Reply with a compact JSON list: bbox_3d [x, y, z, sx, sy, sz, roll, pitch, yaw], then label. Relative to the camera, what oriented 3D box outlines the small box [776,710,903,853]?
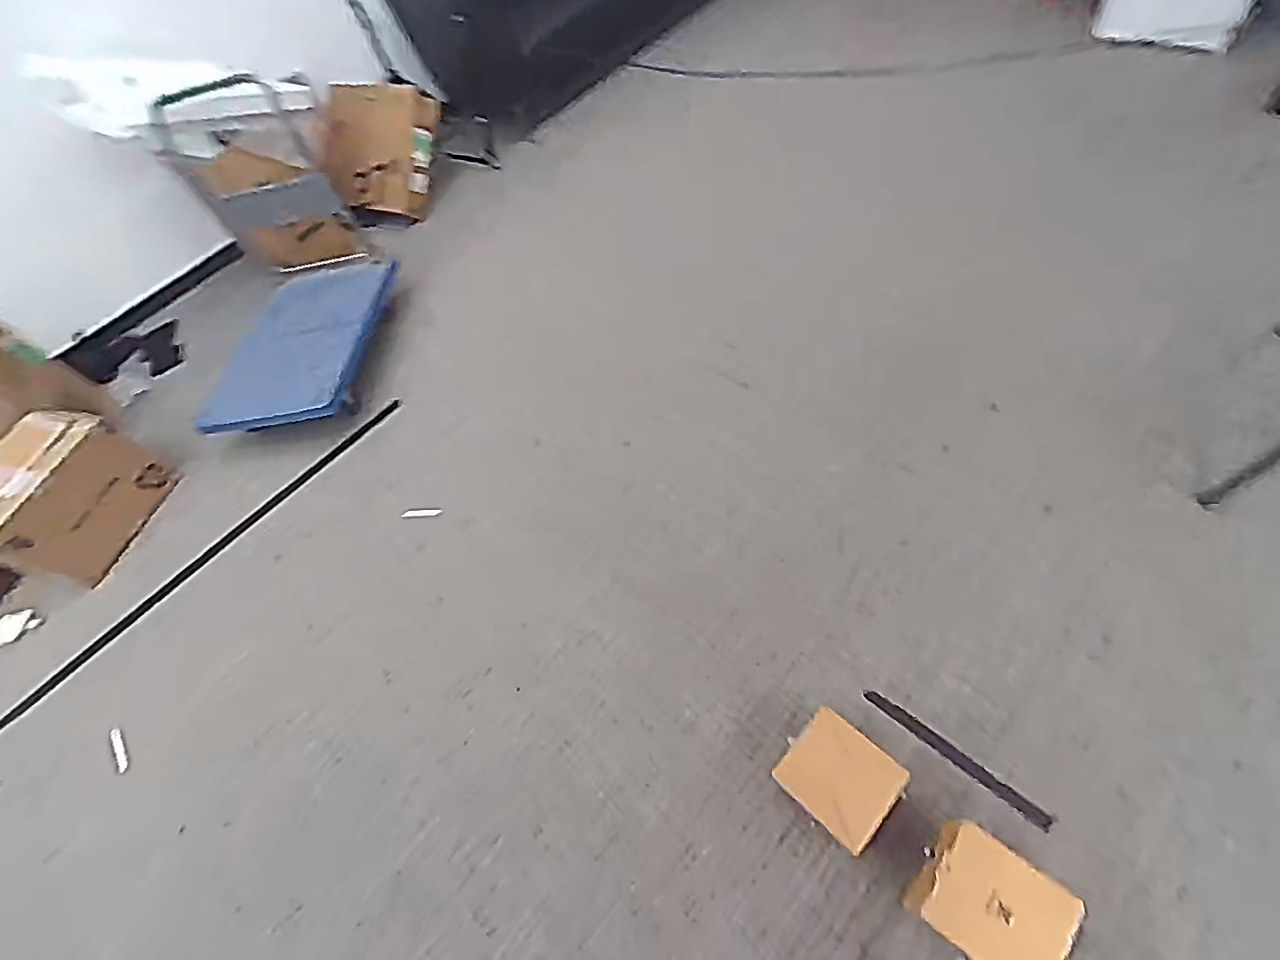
[{"bbox_3d":[0.372,0.569,1.023,0.168,0.176,0.179,-44,57,-15],"label":"small box"}]

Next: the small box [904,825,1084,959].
[{"bbox_3d":[0.565,0.701,0.887,0.179,0.176,0.168,30,70,31],"label":"small box"}]
